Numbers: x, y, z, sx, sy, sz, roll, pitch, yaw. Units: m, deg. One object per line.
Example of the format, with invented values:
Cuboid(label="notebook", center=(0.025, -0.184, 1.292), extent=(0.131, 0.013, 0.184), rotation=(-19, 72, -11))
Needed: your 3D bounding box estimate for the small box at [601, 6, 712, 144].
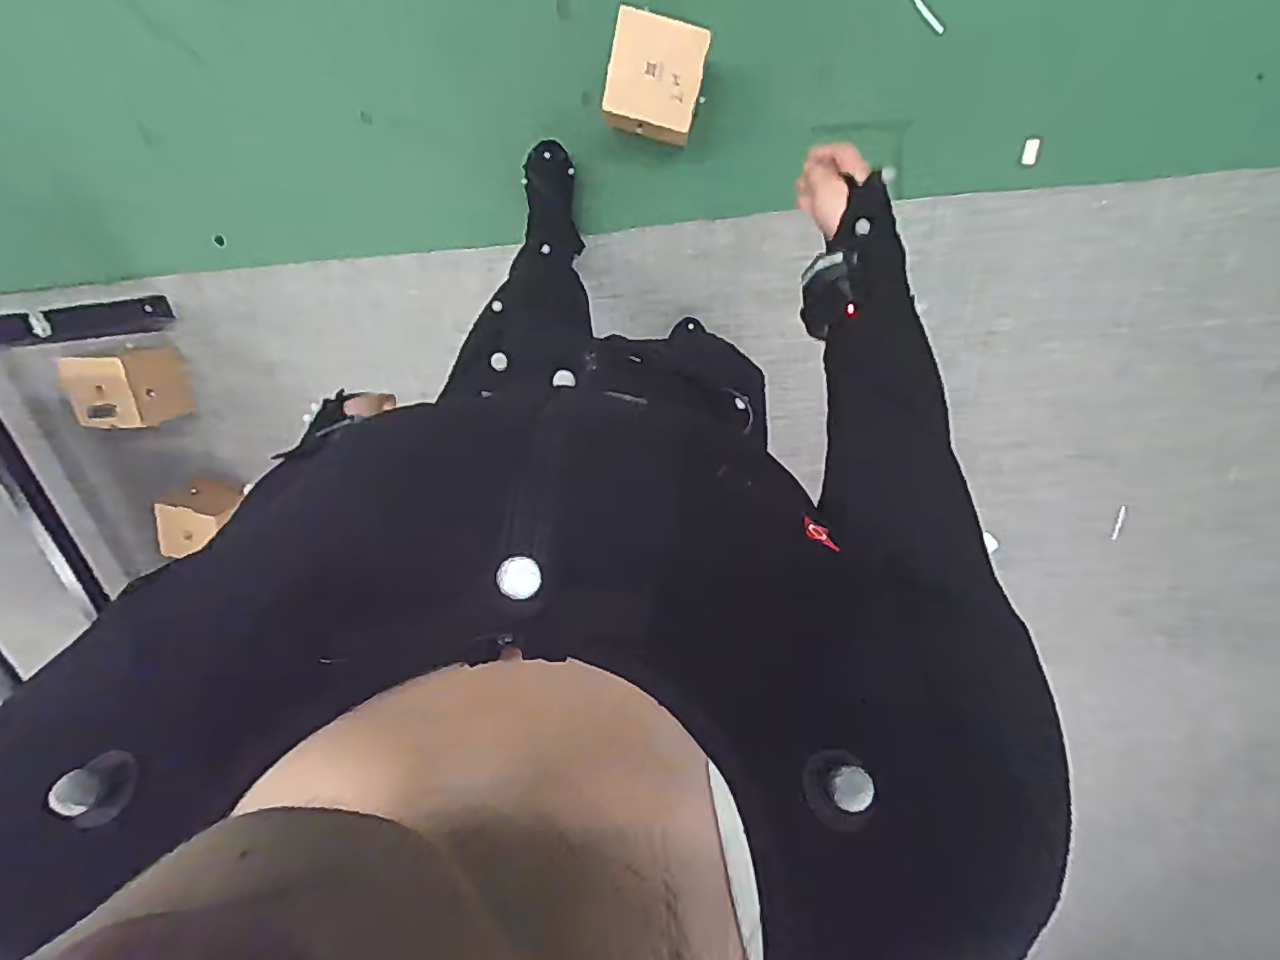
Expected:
Cuboid(label="small box", center=(0.031, -0.790, 1.075), extent=(0.179, 0.176, 0.168), rotation=(13, 115, -4))

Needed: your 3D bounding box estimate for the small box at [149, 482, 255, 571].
Cuboid(label="small box", center=(-1.237, 0.127, 1.541), extent=(0.168, 0.176, 0.179), rotation=(14, 116, -4))

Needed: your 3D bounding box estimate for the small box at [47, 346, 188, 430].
Cuboid(label="small box", center=(-1.312, -0.237, 1.376), extent=(0.168, 0.176, 0.179), rotation=(1, 114, 1))
